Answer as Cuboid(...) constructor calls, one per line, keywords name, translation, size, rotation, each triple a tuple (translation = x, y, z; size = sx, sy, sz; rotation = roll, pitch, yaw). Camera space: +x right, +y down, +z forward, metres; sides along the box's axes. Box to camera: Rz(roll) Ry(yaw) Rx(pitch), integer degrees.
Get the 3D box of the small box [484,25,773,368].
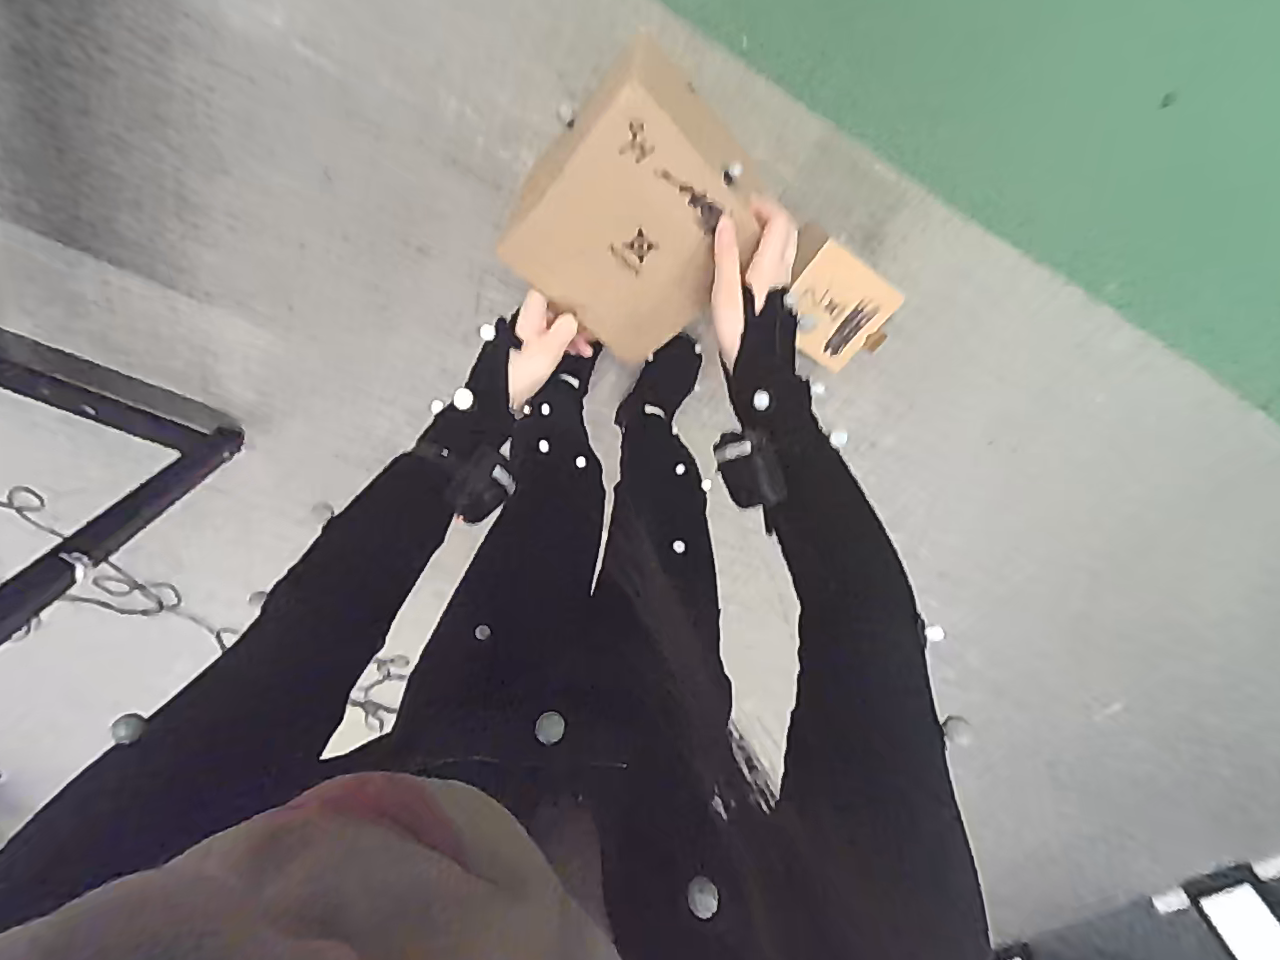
Cuboid(name="small box", translation=(-0.004, -0.242, 0.479), size=(0.168, 0.176, 0.179), rotation=(34, 132, -31))
